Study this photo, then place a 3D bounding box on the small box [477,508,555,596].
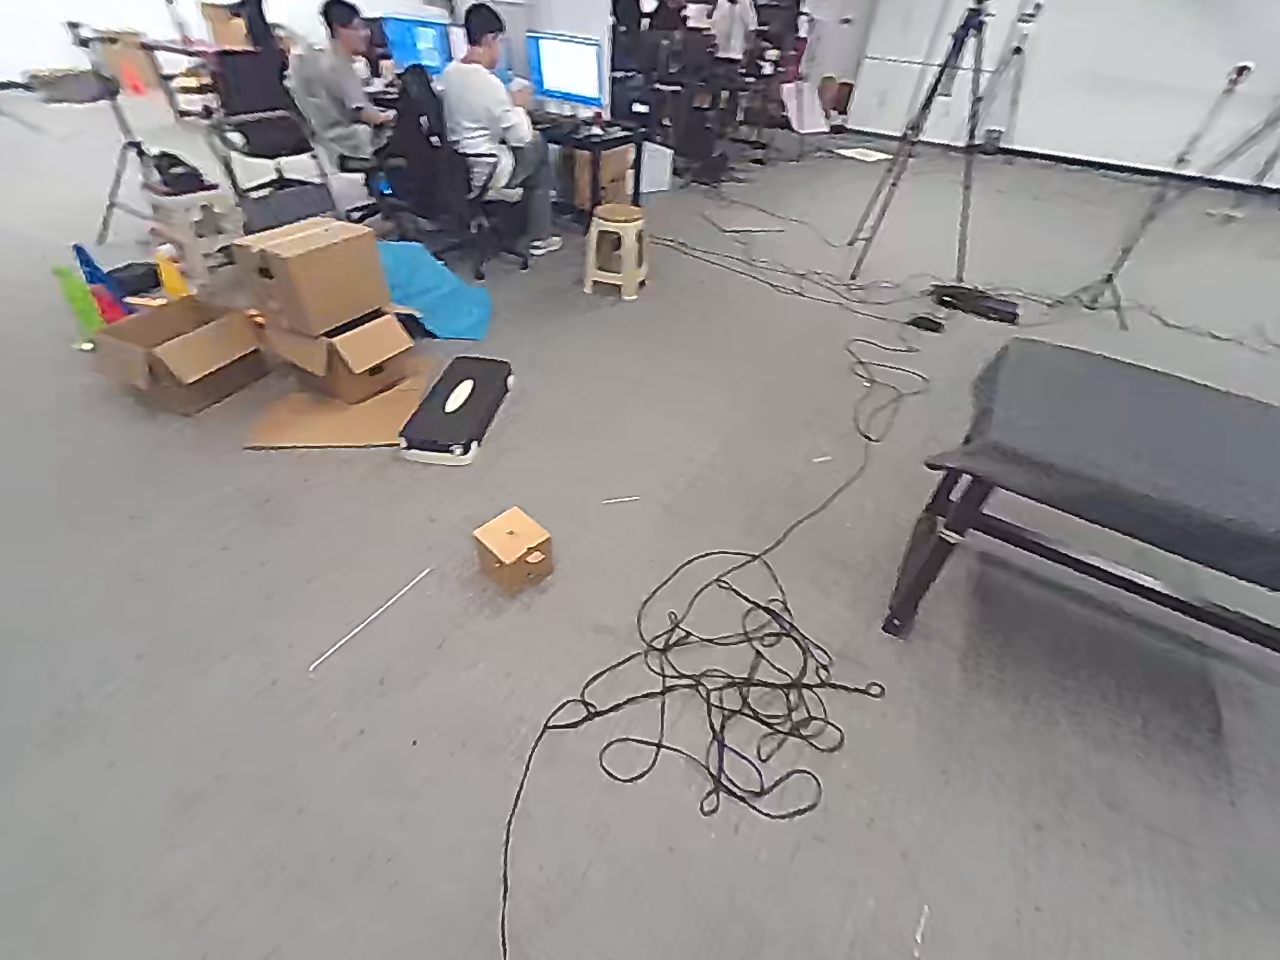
[{"bbox_3d":[-0.381,0.225,1.678,0.179,0.176,0.168,34,49,28],"label":"small box"}]
